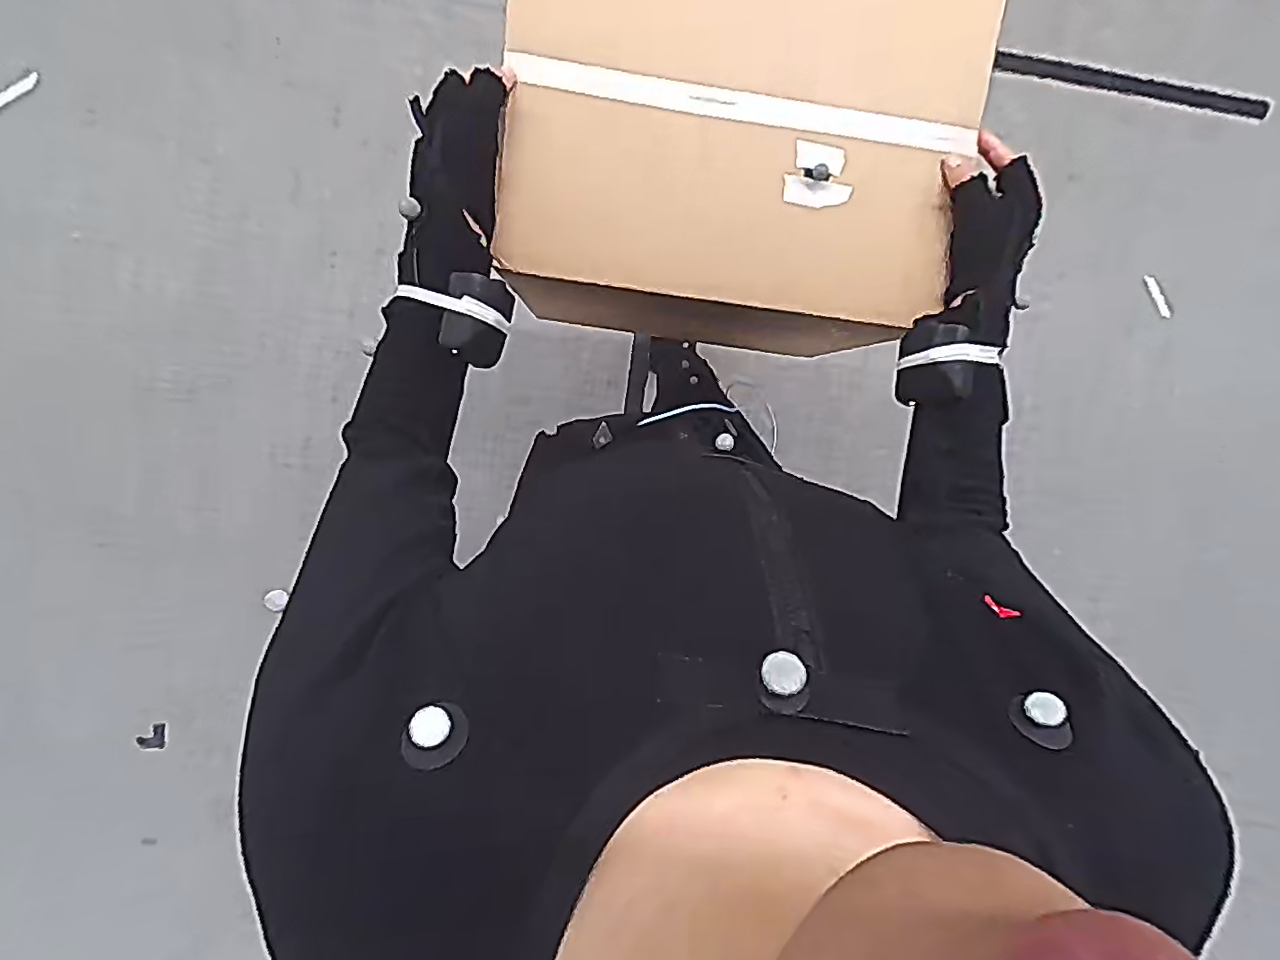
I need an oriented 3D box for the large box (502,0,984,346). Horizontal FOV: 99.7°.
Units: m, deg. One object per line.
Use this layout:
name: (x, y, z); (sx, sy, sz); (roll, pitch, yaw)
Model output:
large box: (0.078, -0.345, 0.617); (0.408, 0.320, 0.320); (7, 99, -5)
